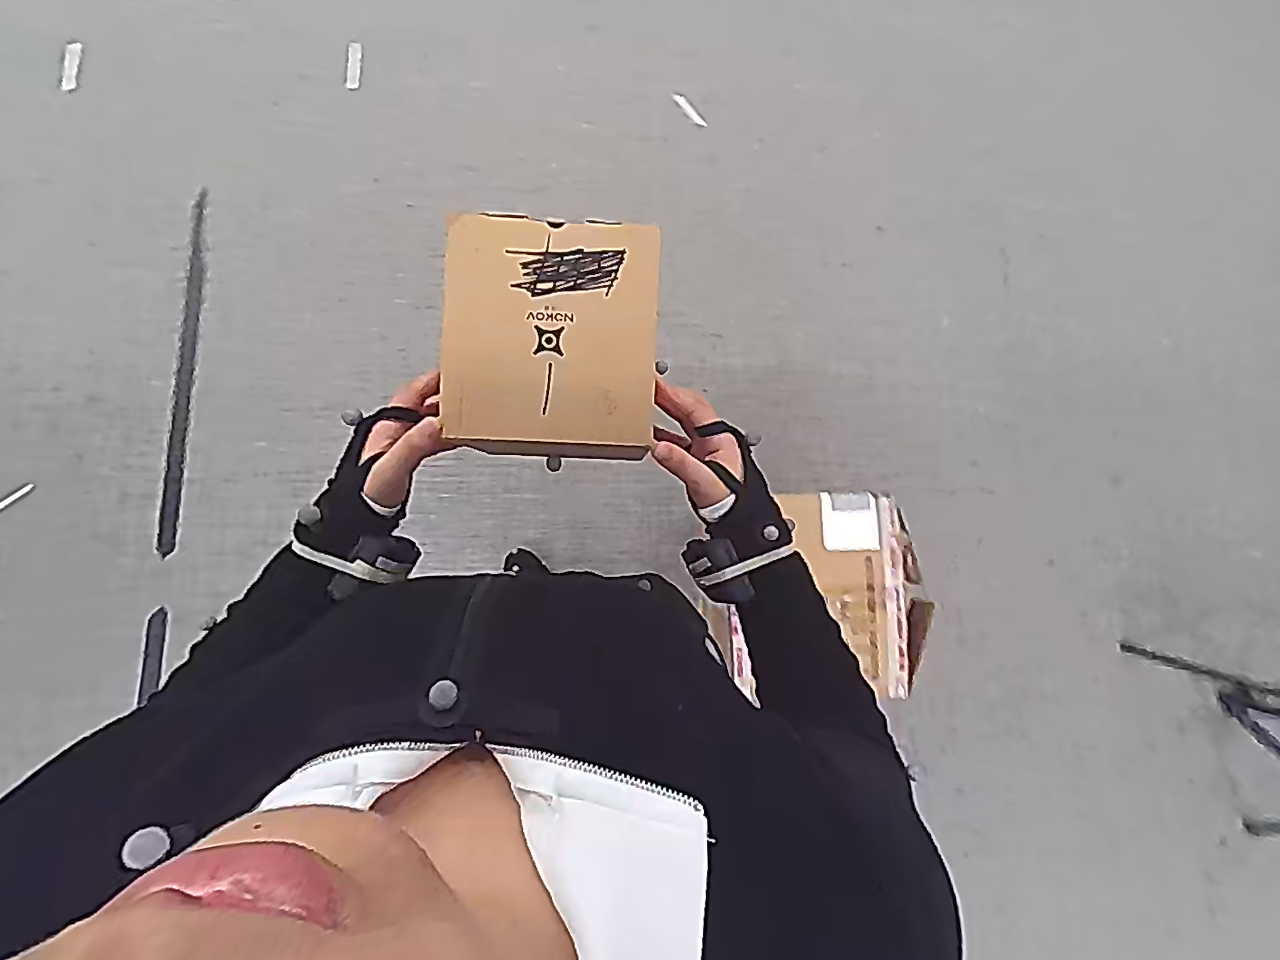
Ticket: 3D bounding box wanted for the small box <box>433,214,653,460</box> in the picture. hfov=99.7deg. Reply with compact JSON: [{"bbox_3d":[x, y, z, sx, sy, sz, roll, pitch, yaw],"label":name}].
[{"bbox_3d":[-0.077,-0.114,0.496,0.168,0.176,0.179,1,89,-2],"label":"small box"}]
